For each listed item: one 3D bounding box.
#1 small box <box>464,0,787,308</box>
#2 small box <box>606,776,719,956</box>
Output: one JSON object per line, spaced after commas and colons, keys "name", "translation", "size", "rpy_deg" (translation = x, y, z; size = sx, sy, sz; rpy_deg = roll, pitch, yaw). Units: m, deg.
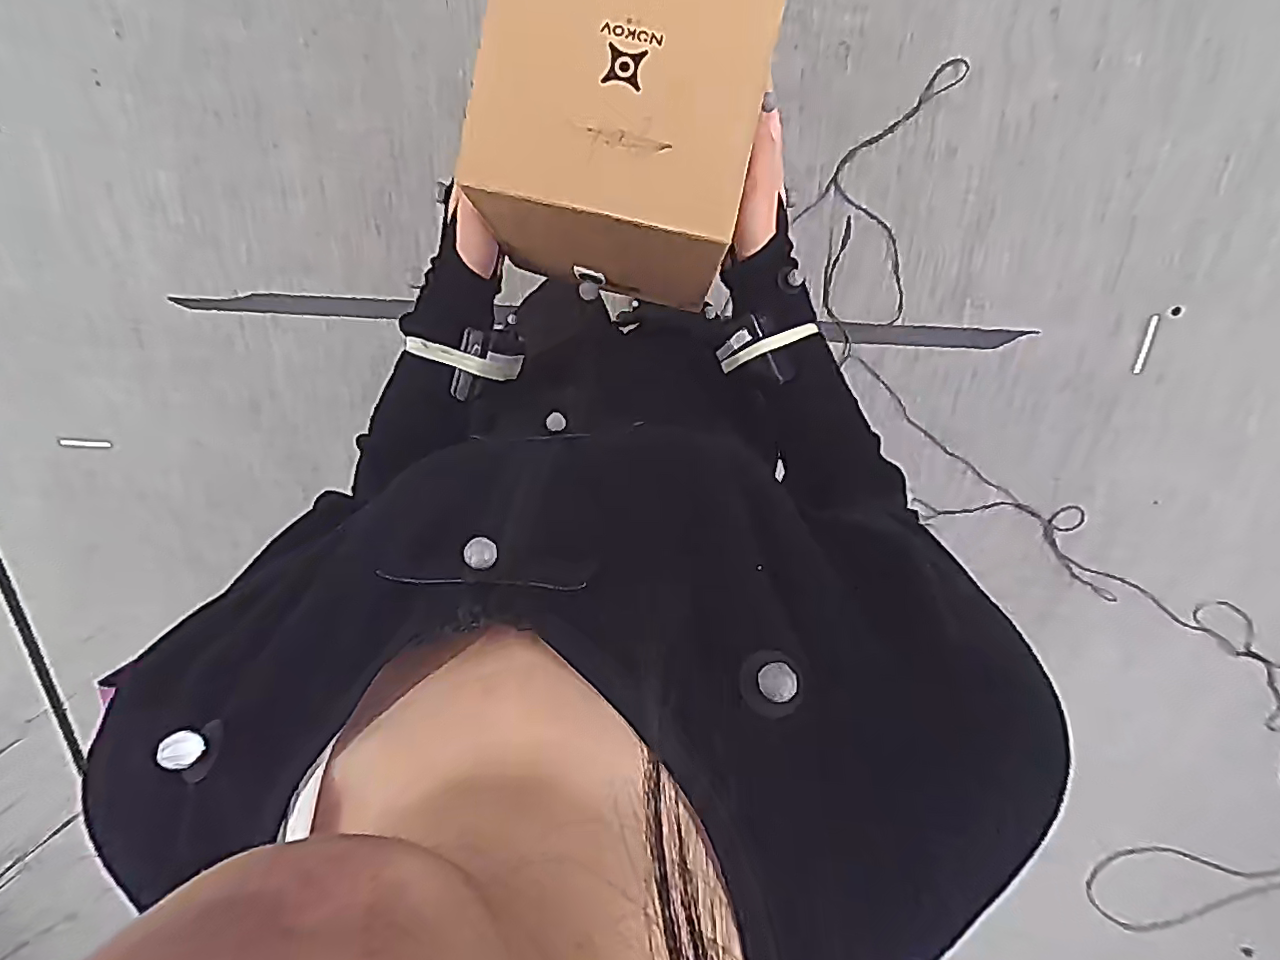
{"name": "small box", "translation": [-0.008, -0.246, 0.394], "size": [0.168, 0.176, 0.179], "rpy_deg": [12, 94, -1]}
{"name": "small box", "translation": [0.037, 0.618, 0.877], "size": [0.168, 0.176, 0.179], "rpy_deg": [0, 110, 2]}
